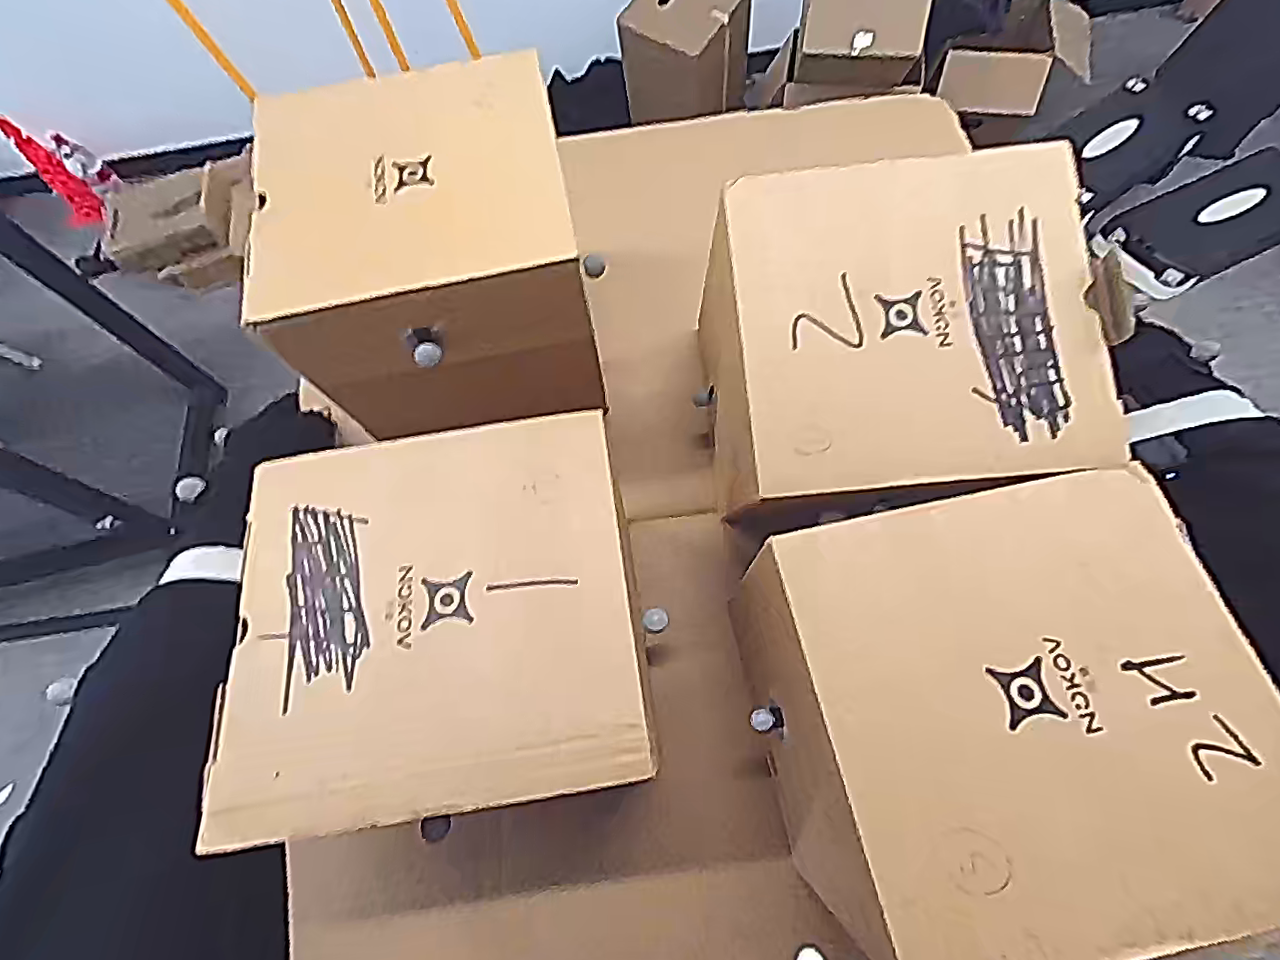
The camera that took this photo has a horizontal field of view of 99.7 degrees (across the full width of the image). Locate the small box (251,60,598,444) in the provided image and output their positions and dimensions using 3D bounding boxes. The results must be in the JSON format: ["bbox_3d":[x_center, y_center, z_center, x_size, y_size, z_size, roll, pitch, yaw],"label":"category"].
[{"bbox_3d":[-0.130,-0.144,0.385,0.179,0.176,0.168,-12,69,-1],"label":"small box"}]
